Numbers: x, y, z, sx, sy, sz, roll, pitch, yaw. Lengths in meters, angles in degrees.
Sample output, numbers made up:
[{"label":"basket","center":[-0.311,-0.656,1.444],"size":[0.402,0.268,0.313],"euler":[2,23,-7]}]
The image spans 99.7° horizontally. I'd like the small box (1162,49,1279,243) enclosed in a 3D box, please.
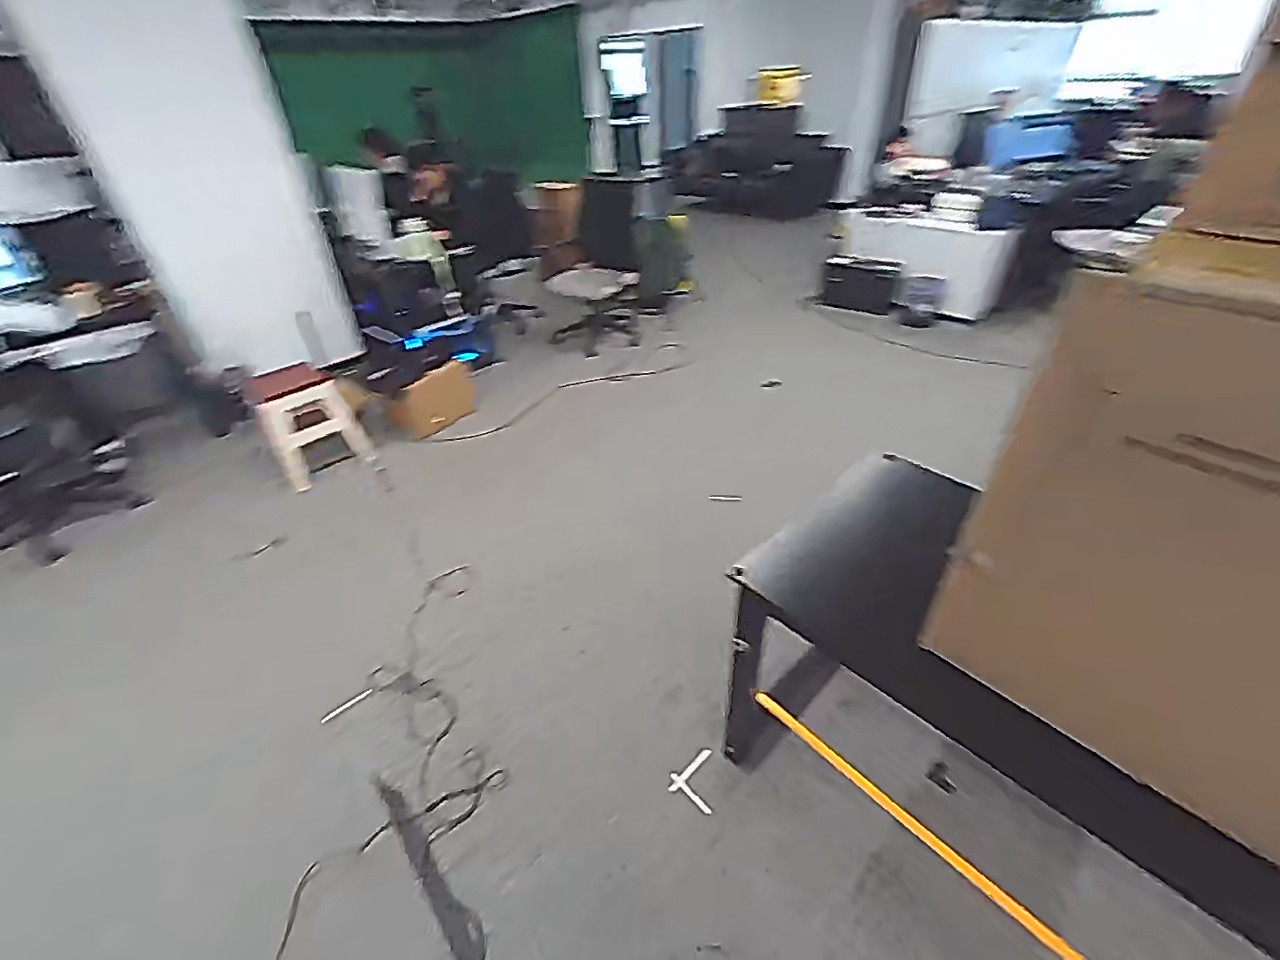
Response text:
[{"label":"small box","center":[0.712,-0.359,0.575],"size":[0.179,0.176,0.168],"euler":[-31,46,-32]}]
